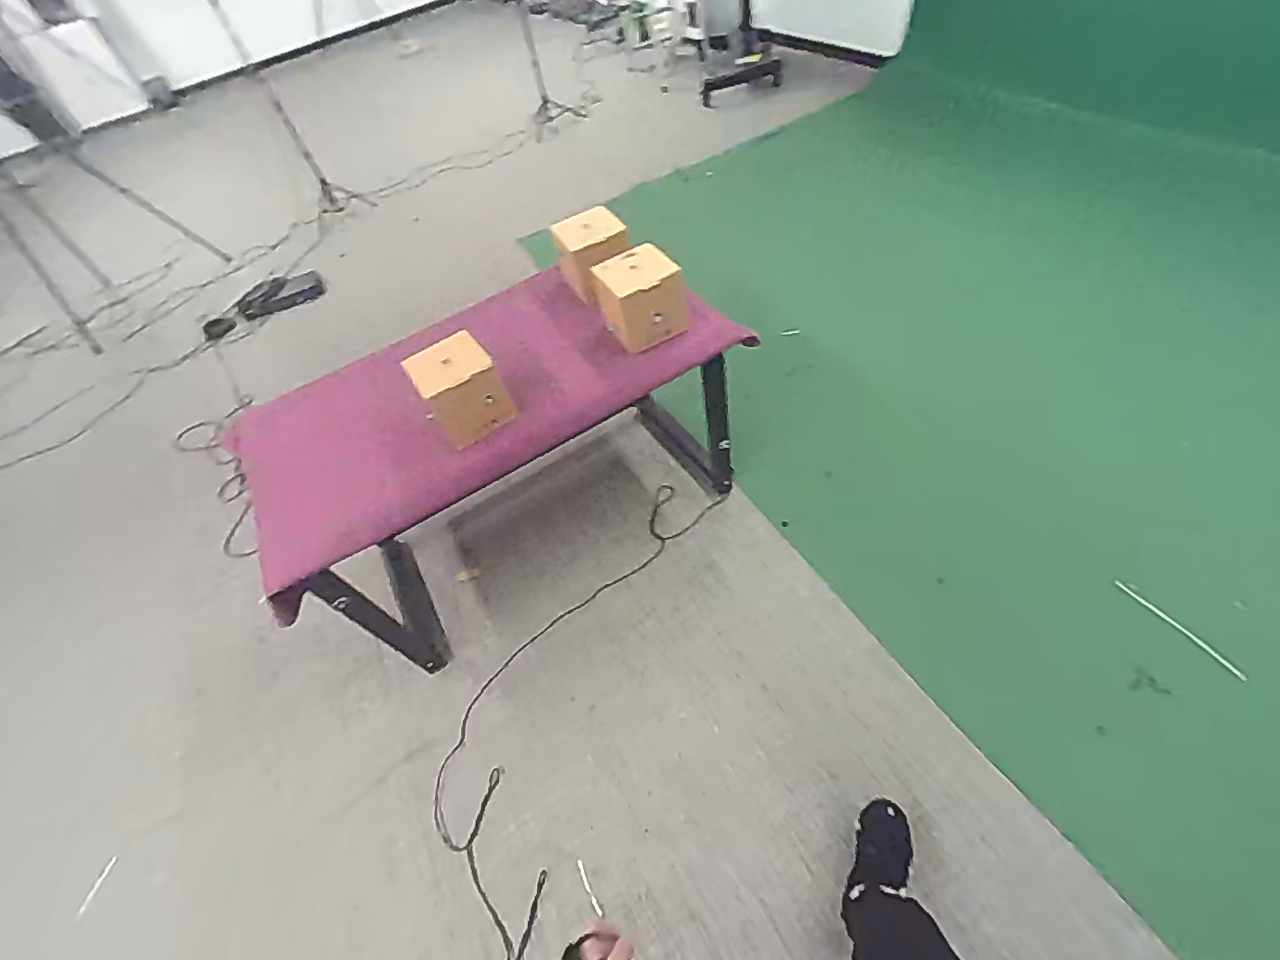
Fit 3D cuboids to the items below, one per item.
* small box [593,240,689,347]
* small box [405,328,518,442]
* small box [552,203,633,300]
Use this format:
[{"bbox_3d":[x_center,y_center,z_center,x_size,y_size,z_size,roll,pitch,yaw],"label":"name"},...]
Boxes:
[{"bbox_3d":[0.007,-0.457,1.346,0.168,0.176,0.179,-27,52,-8],"label":"small box"},{"bbox_3d":[-0.409,-0.213,1.257,0.168,0.176,0.179,-33,52,-13],"label":"small box"},{"bbox_3d":[-0.123,-0.636,1.511,0.168,0.176,0.179,-27,53,-7],"label":"small box"}]
